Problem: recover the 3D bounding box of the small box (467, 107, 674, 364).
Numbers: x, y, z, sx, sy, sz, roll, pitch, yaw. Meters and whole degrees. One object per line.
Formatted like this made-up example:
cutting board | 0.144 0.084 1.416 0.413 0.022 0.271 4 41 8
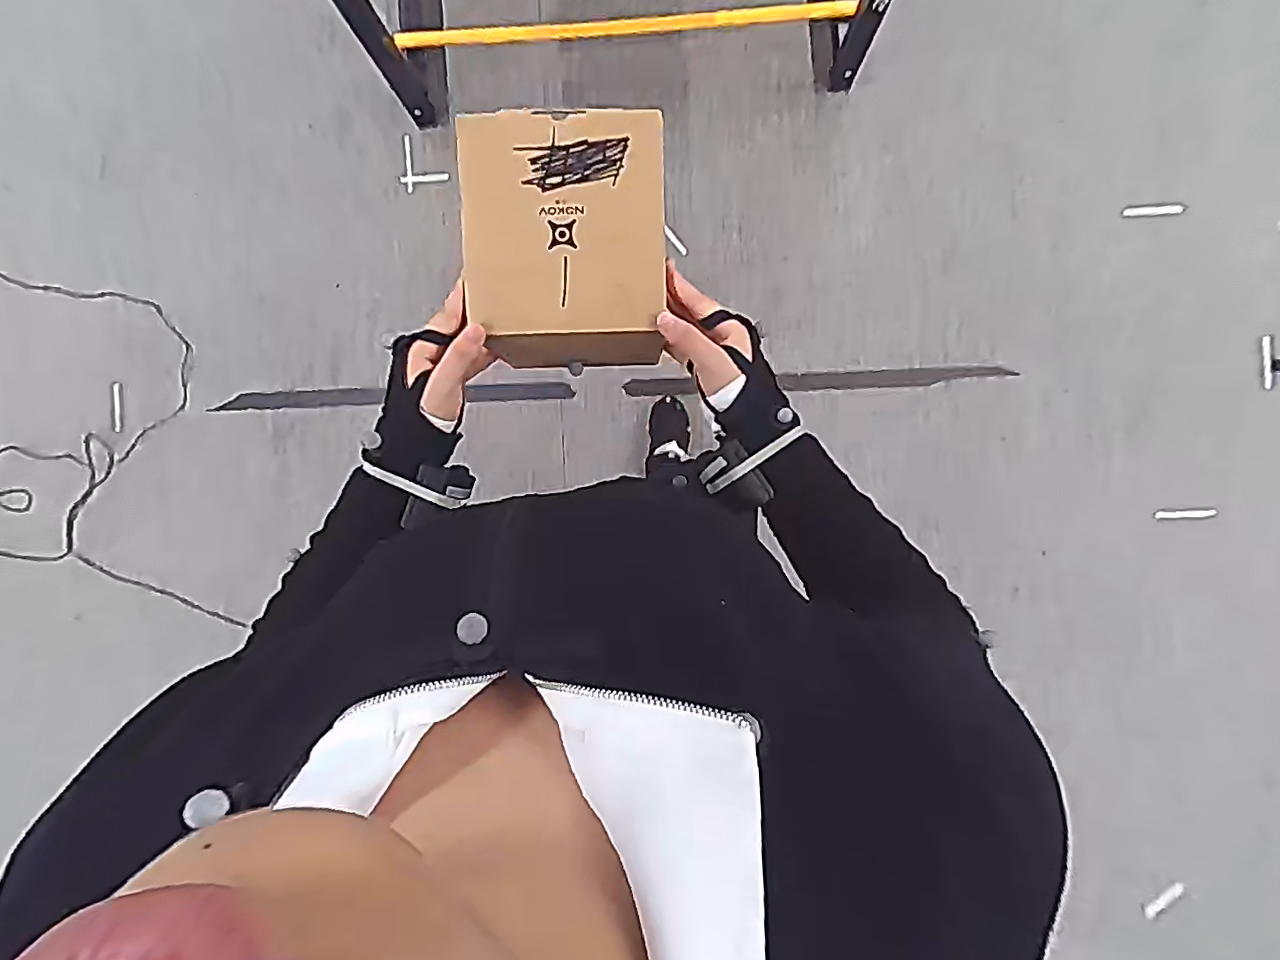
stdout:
small box | -0.057 -0.215 0.516 0.168 0.176 0.179 -2 92 0
